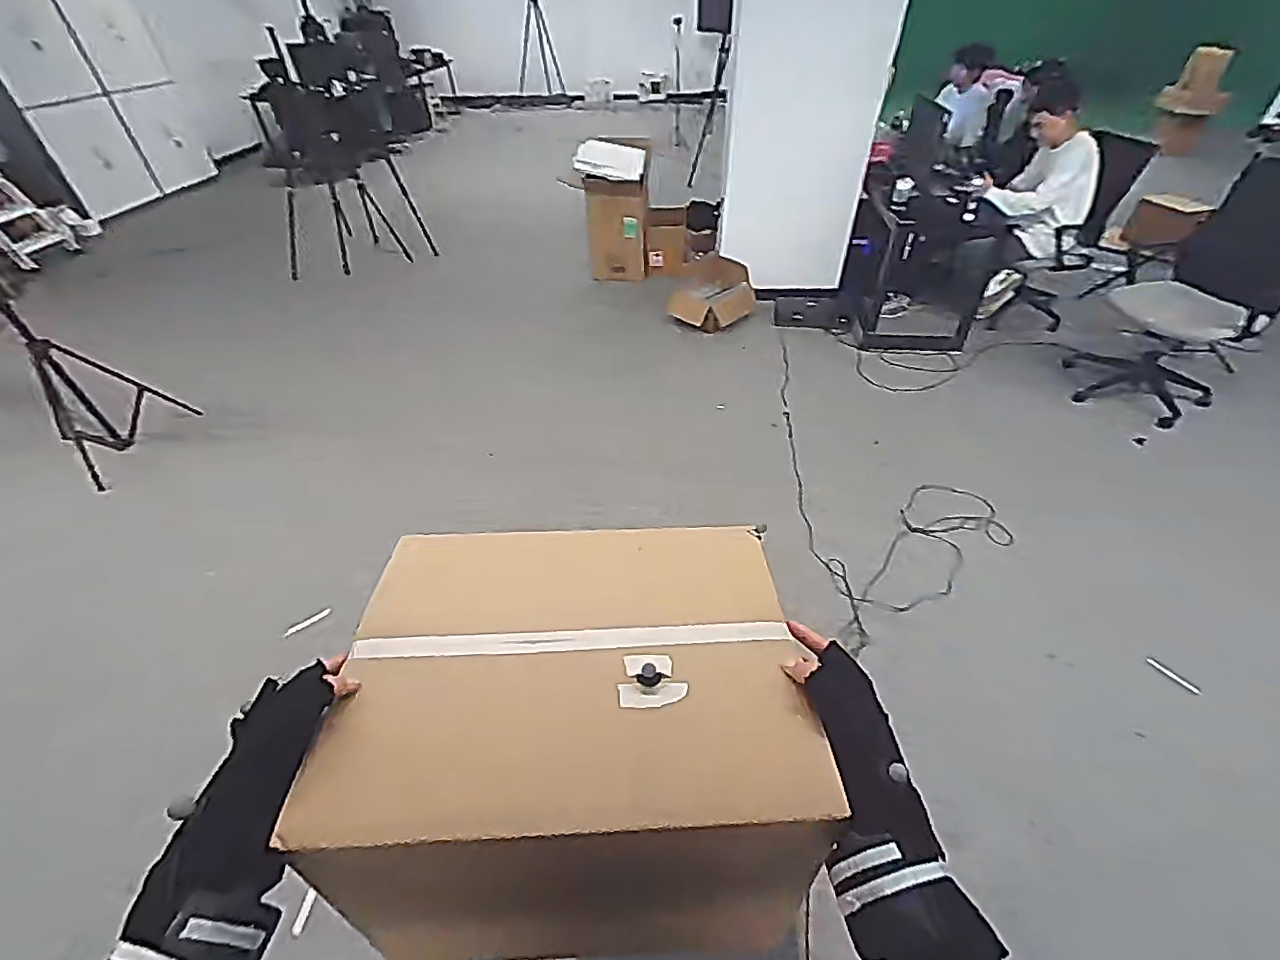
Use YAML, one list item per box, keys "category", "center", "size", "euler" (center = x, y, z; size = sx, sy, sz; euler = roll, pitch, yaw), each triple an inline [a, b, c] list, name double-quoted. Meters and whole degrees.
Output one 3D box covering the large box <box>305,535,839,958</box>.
- category: "large box"
  center: [-0.056, 0.280, 0.603]
  size: [0.408, 0.320, 0.320]
  euler: [-1, 37, -3]
